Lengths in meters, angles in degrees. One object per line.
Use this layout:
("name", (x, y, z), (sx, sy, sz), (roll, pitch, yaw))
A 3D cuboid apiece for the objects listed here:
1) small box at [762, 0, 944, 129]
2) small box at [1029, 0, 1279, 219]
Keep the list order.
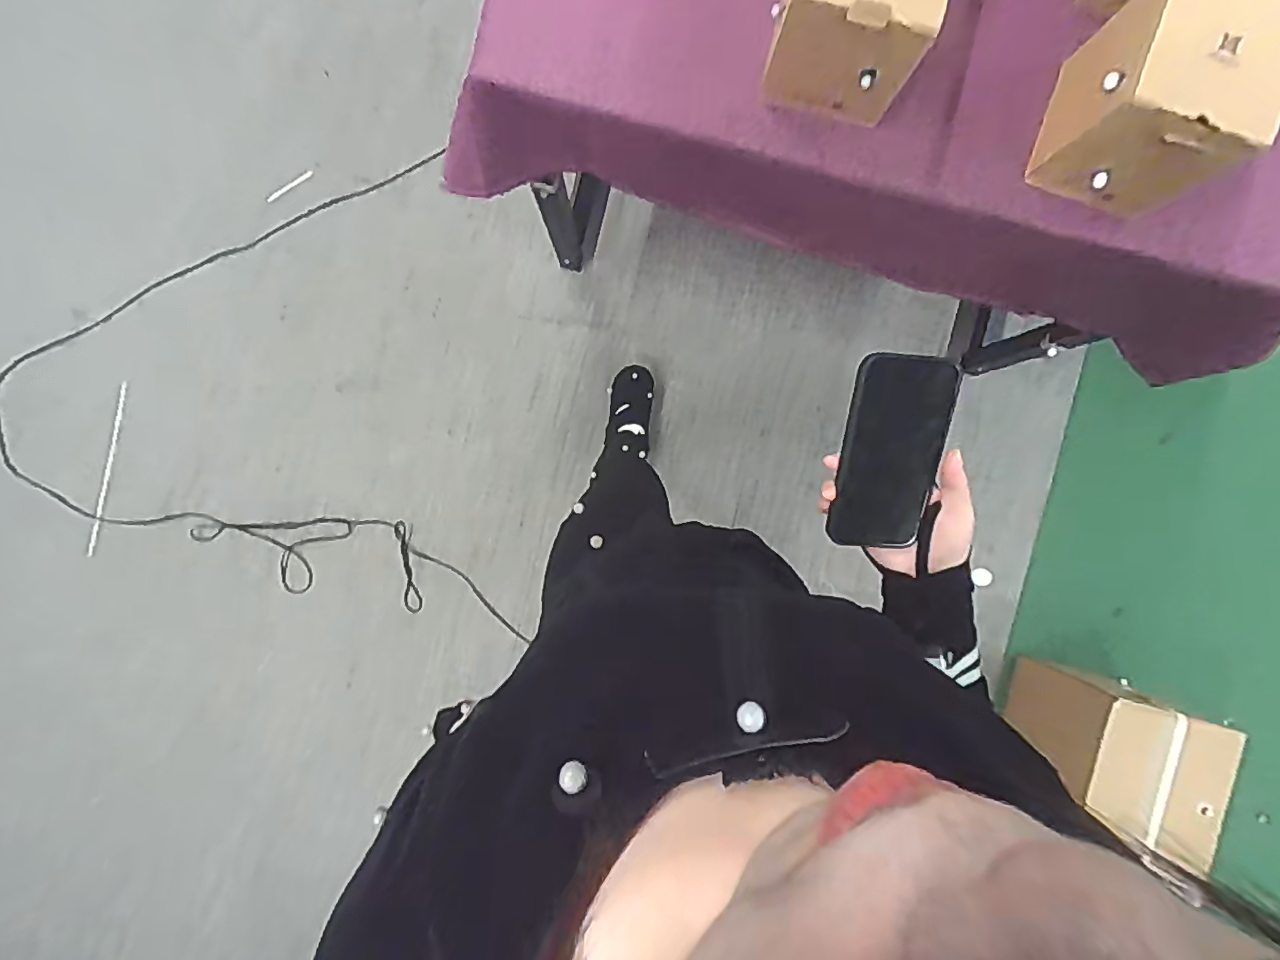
("small box", (0.260, -0.578, 0.663), (0.168, 0.176, 0.179), (14, 90, -1))
("small box", (0.632, -0.464, 0.666), (0.168, 0.176, 0.179), (19, 91, 0))
